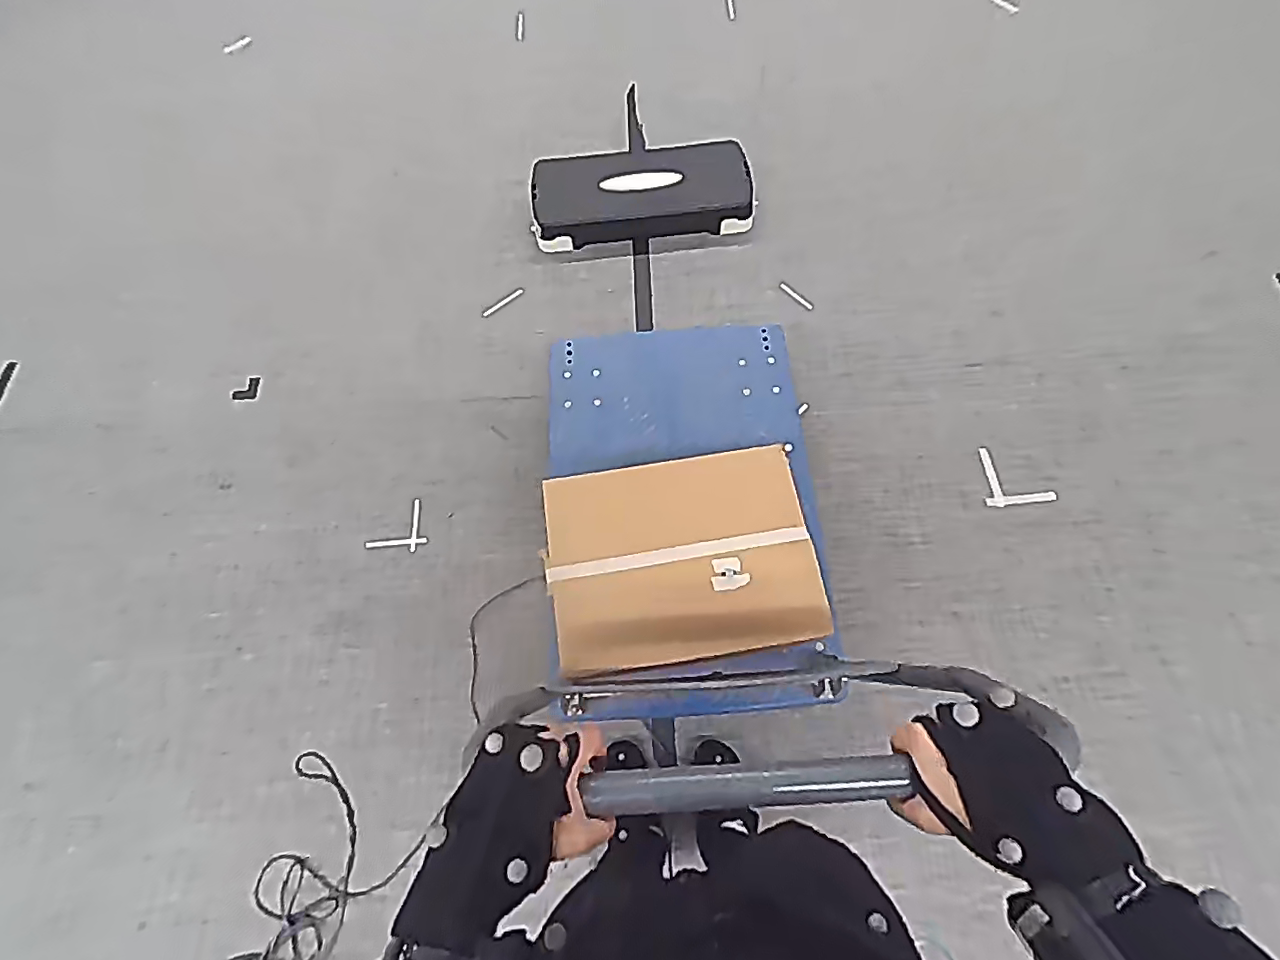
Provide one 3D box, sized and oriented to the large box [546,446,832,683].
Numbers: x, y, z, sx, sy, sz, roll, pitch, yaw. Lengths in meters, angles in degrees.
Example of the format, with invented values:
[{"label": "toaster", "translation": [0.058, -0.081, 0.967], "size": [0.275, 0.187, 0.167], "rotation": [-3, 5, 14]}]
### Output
[{"label": "large box", "translation": [0.066, 0.169, 0.979], "size": [0.408, 0.320, 0.320], "rotation": [-9, 70, -3]}]
